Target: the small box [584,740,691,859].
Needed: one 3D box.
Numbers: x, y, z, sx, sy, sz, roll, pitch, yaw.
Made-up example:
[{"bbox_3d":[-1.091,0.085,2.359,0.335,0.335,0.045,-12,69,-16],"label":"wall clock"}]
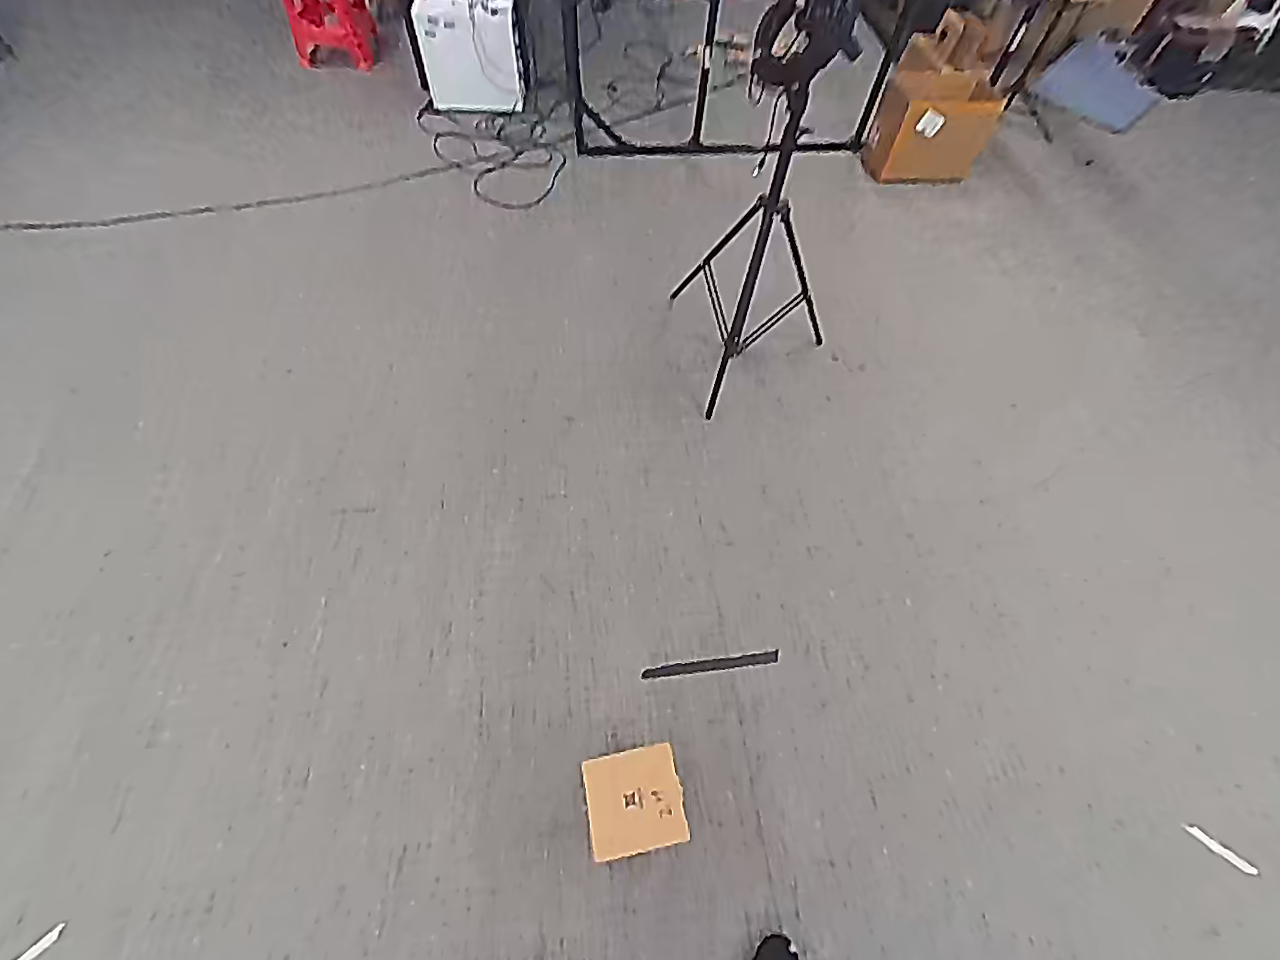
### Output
[{"bbox_3d":[-0.007,0.623,1.059,0.179,0.176,0.168,-9,60,-7],"label":"small box"}]
